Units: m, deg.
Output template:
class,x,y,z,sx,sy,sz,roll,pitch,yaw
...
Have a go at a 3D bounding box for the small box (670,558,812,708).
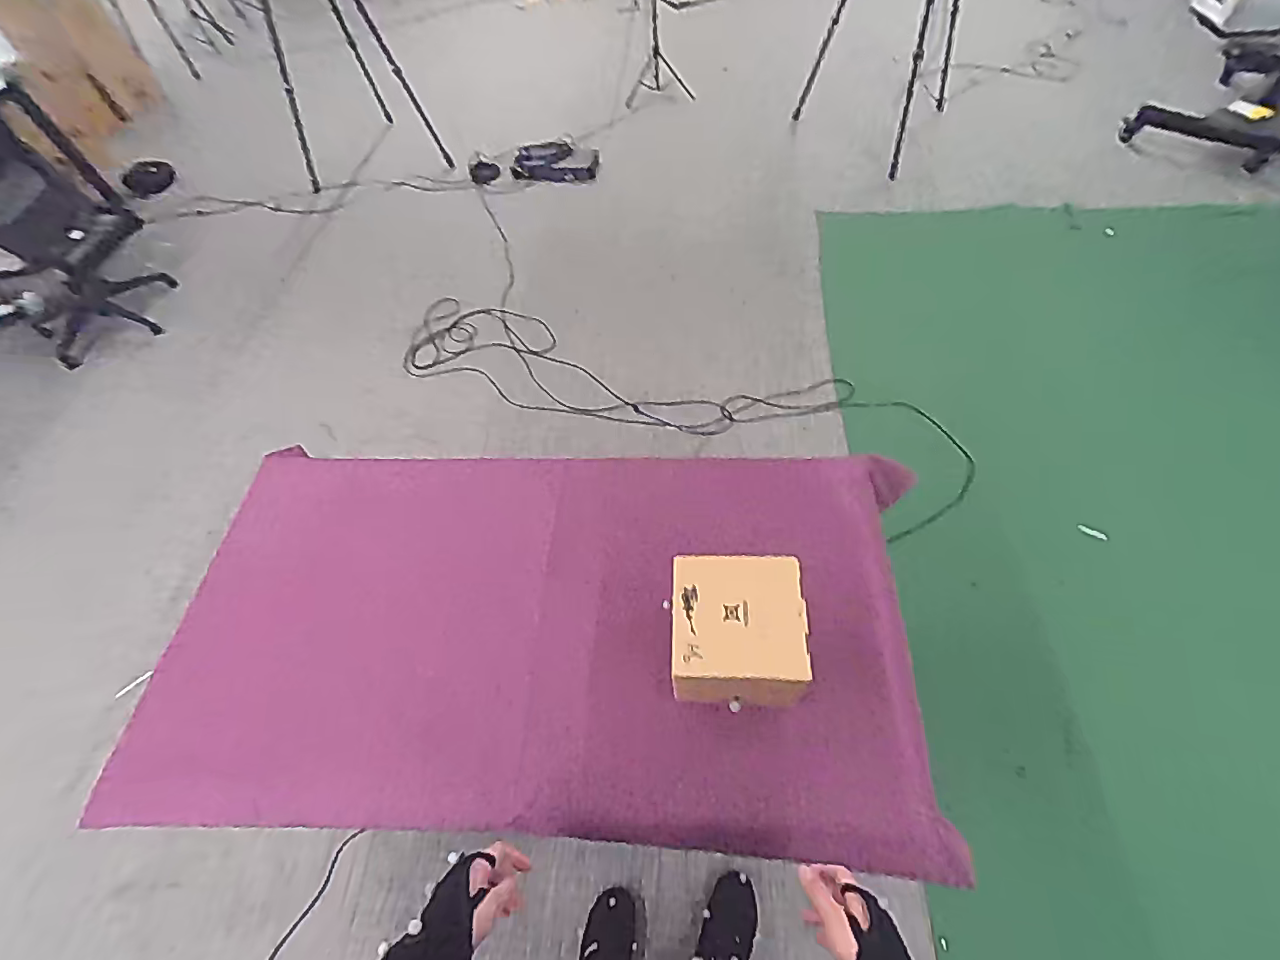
class,x,y,z,sx,sy,sz,roll,pitch,yaw
small box,0.135,0.224,0.777,0.179,0.176,0.168,2,58,5
